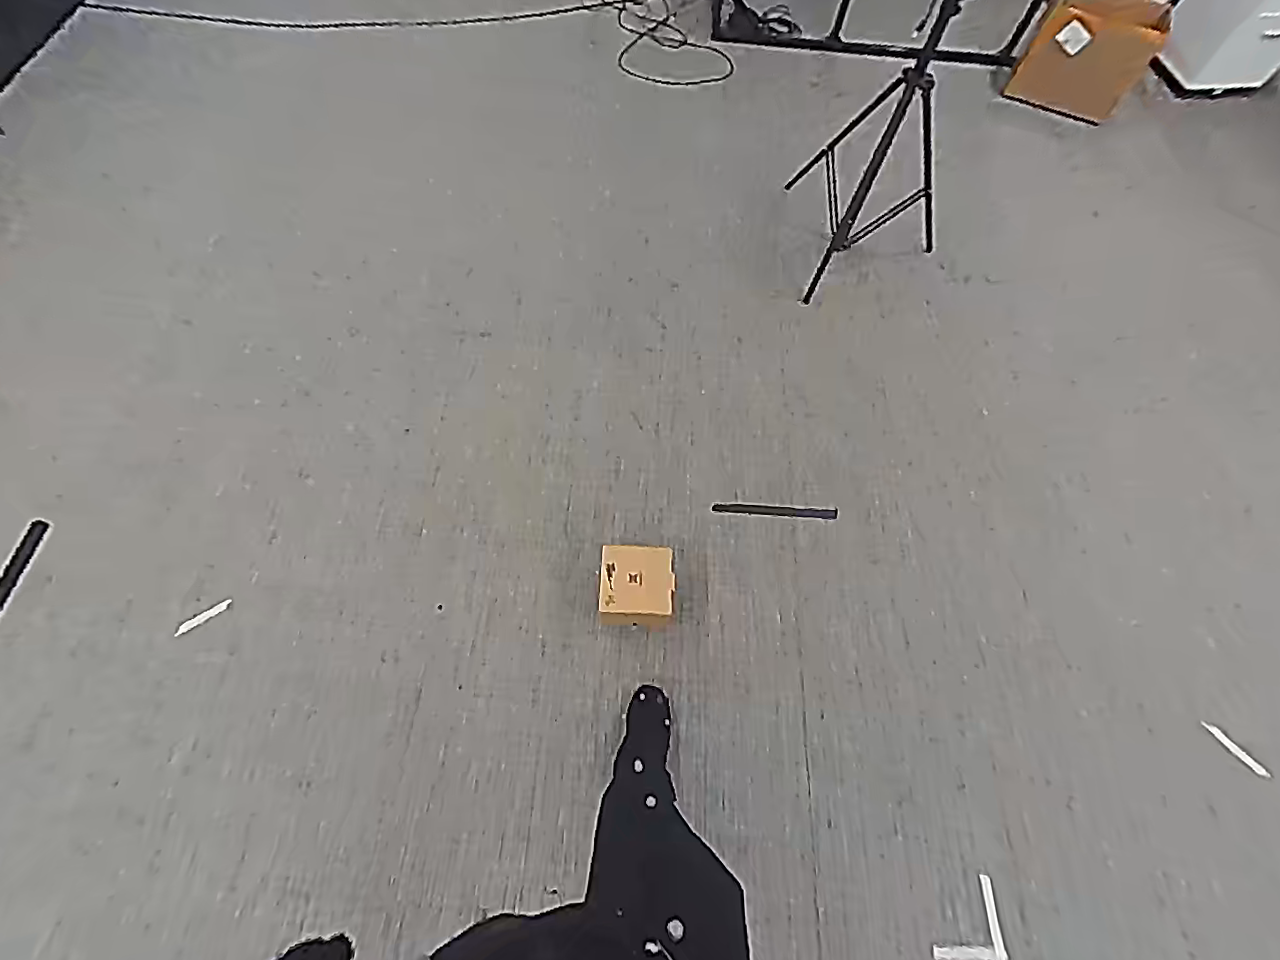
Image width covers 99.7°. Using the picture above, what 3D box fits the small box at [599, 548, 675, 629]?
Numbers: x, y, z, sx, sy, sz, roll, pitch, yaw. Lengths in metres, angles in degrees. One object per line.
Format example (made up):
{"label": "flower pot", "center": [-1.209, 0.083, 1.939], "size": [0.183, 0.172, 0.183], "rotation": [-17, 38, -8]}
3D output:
{"label": "small box", "center": [-0.009, 0.279, 1.370], "size": [0.179, 0.176, 0.168], "rotation": [3, 65, -1]}
